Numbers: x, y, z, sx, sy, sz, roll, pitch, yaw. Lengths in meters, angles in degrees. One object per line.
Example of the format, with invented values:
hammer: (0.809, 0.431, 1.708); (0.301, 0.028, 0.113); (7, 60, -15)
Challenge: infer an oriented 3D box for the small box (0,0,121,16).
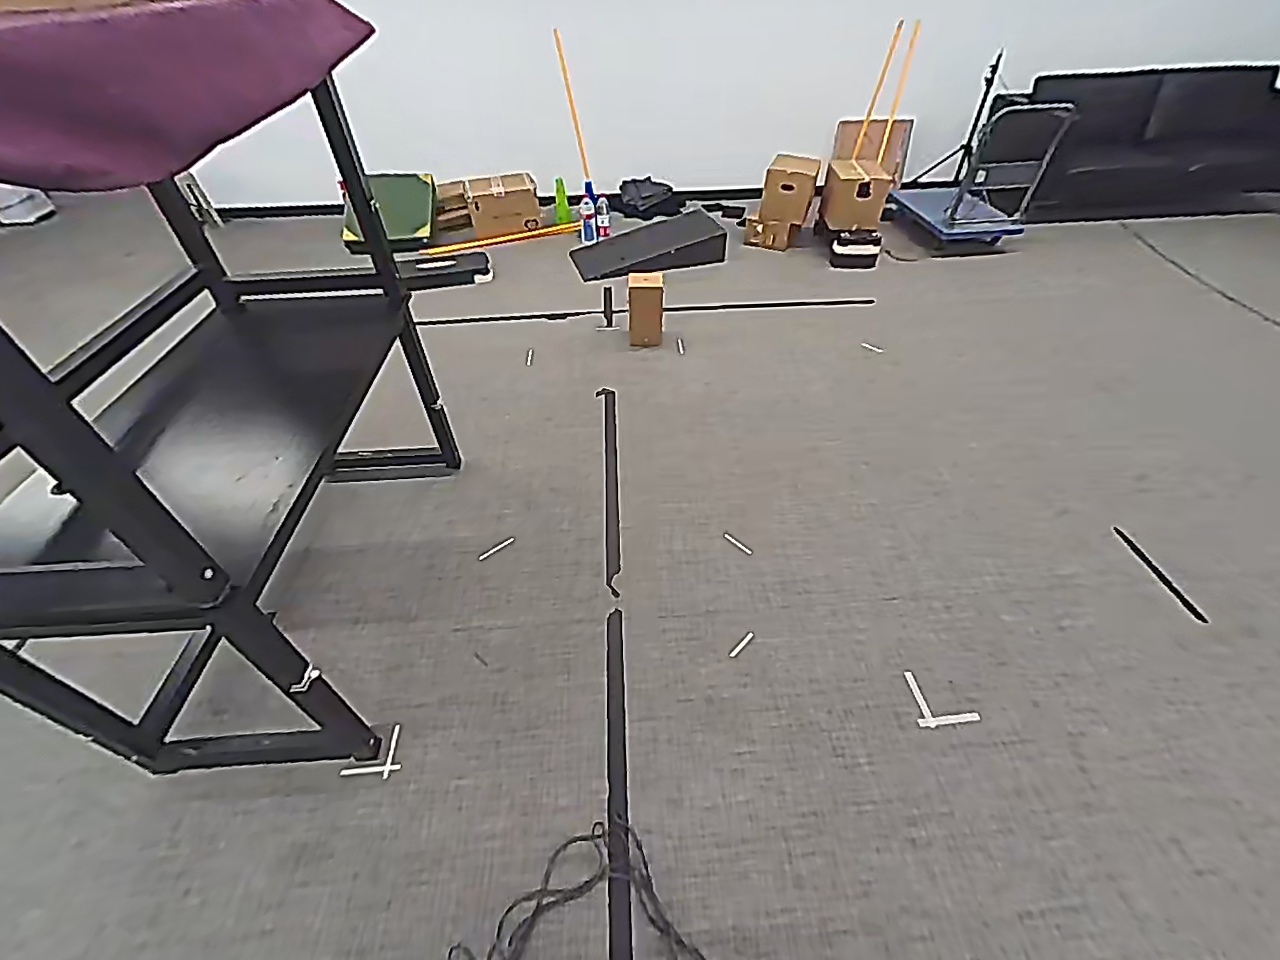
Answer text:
small box: (-0.939, -0.806, 0.797); (0.179, 0.176, 0.168); (-7, 44, -4)

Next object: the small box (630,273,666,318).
small box: (0.041, -0.946, 2.775); (0.179, 0.176, 0.168); (0, 44, 1)

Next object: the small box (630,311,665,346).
small box: (0.036, -0.831, 2.891); (0.179, 0.176, 0.168); (-1, 44, -2)
